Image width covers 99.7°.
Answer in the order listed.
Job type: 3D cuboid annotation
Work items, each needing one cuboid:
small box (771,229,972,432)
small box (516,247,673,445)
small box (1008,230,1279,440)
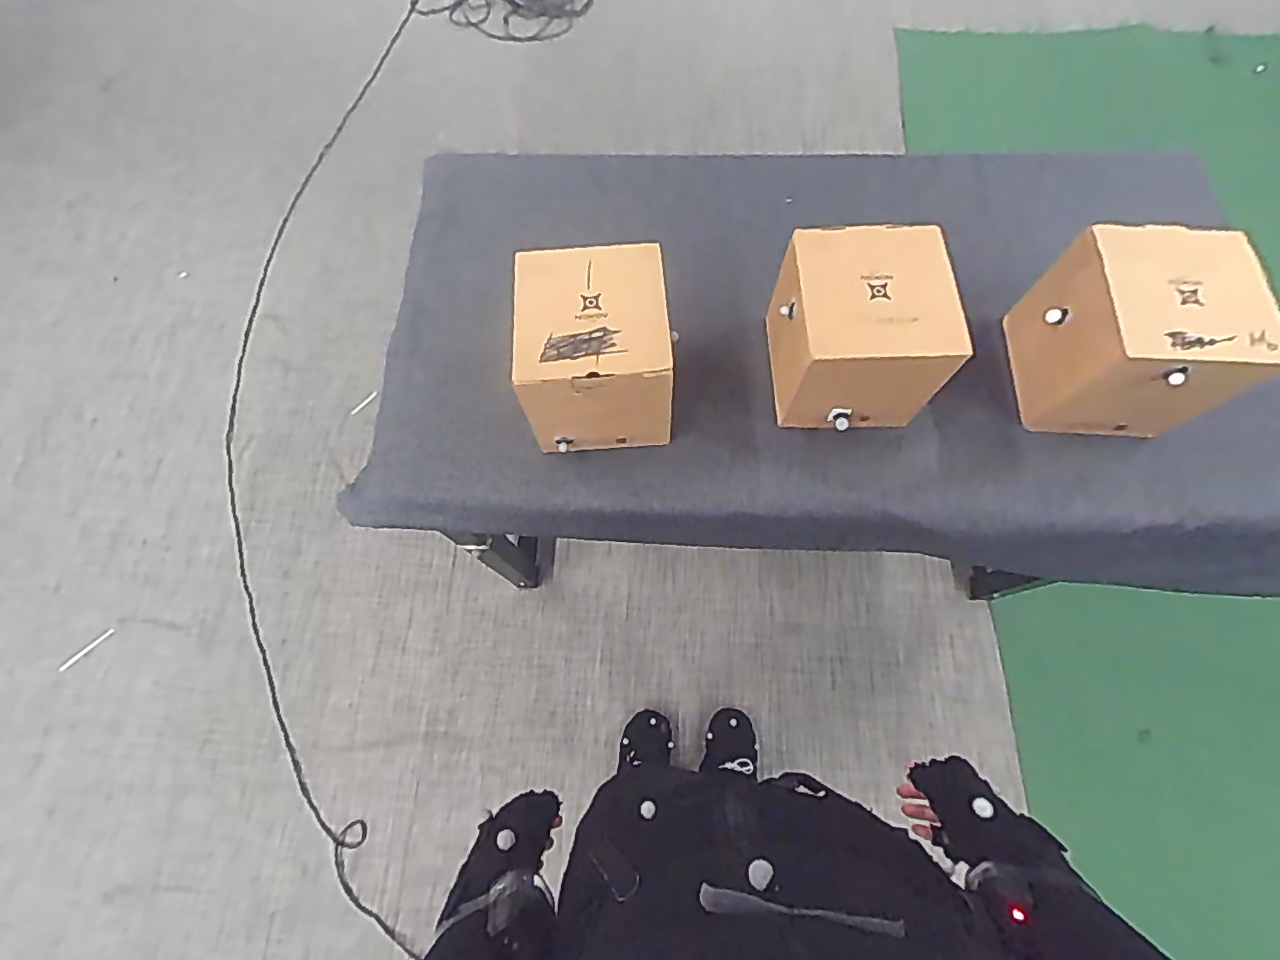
[{"bbox_3d":[0.262,-0.174,0.661,0.168,0.176,0.179,-2,70,2],"label":"small box"},{"bbox_3d":[-0.047,-0.150,0.657,0.168,0.176,0.179,-4,67,0],"label":"small box"},{"bbox_3d":[0.578,-0.167,0.646,0.168,0.176,0.179,3,68,4],"label":"small box"}]
